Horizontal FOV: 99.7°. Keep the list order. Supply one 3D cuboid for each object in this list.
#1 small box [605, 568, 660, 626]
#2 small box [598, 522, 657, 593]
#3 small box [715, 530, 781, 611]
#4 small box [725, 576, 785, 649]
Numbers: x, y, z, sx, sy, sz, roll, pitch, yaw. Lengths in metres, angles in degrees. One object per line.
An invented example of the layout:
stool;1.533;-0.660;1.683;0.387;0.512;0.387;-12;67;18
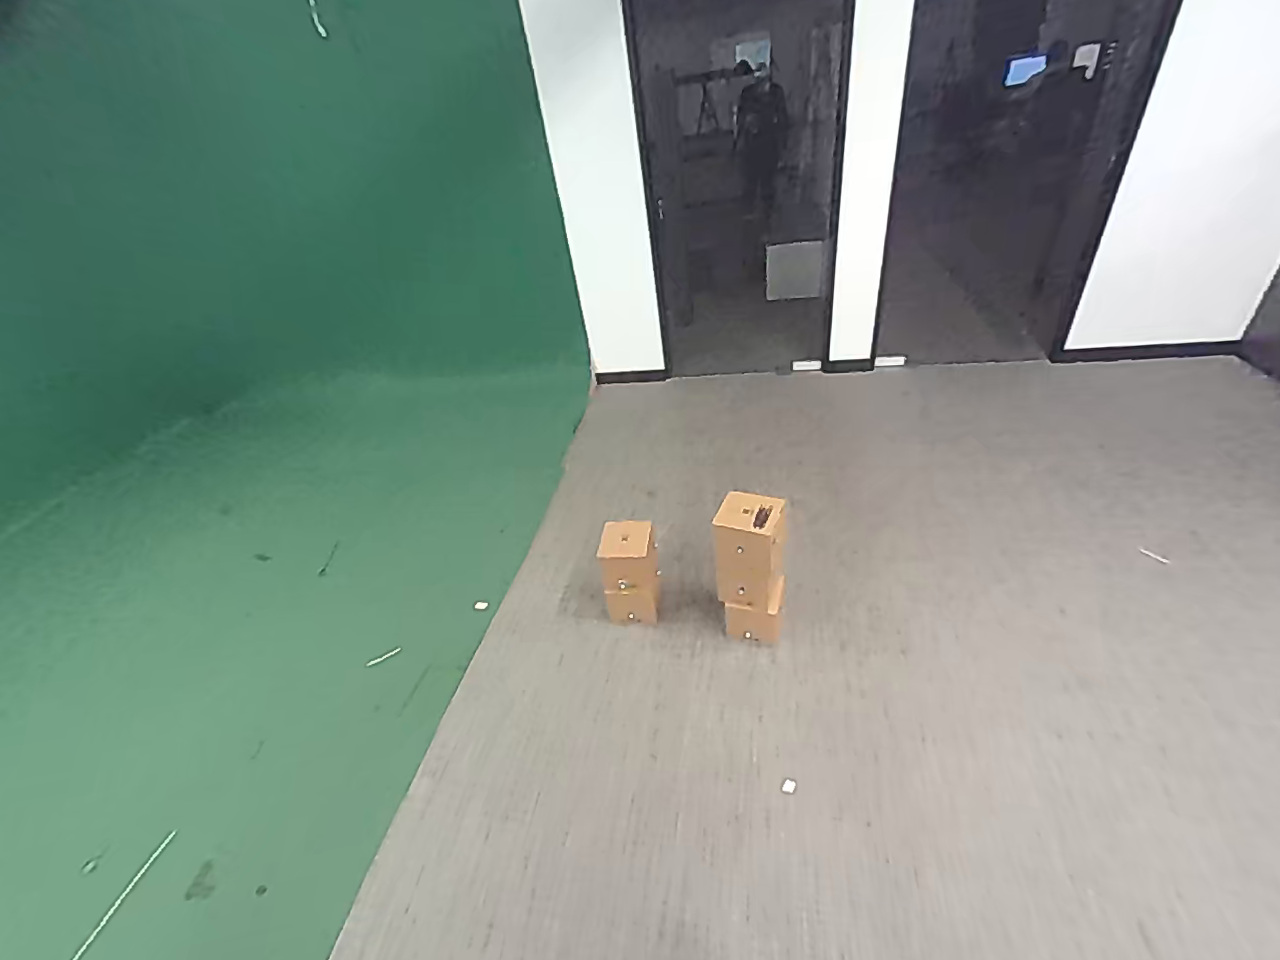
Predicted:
small box;-0.022;0.396;1.928;0.168;0.176;0.179;-2;36;9
small box;-0.036;0.262;1.837;0.168;0.176;0.179;-3;36;10
small box;0.348;0.288;1.716;0.168;0.176;0.179;9;40;24
small box;0.384;0.426;1.797;0.168;0.176;0.179;6;39;21
